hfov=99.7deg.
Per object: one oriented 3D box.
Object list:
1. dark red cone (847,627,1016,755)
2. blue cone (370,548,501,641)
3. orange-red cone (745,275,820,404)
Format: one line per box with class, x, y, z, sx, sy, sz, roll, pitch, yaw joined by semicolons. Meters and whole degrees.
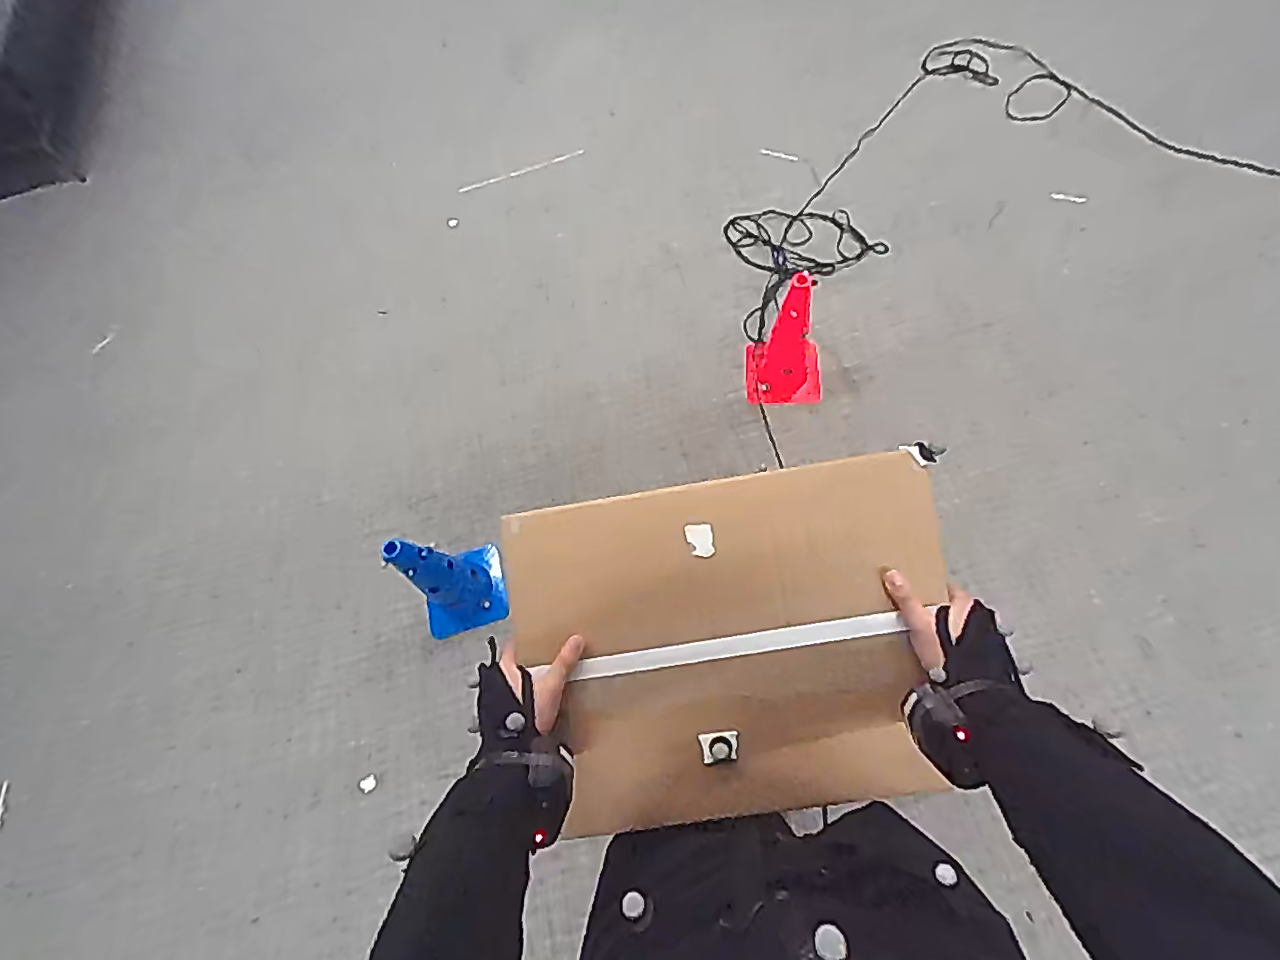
dark red cone;0.532;0.362;0.949;0.202;0.394;0.201;-24;67;-3
blue cone;-0.466;0.220;1.200;0.192;0.380;0.193;-17;64;1
orange-red cone;0.372;-0.363;1.334;0.199;0.360;0.198;1;66;7
